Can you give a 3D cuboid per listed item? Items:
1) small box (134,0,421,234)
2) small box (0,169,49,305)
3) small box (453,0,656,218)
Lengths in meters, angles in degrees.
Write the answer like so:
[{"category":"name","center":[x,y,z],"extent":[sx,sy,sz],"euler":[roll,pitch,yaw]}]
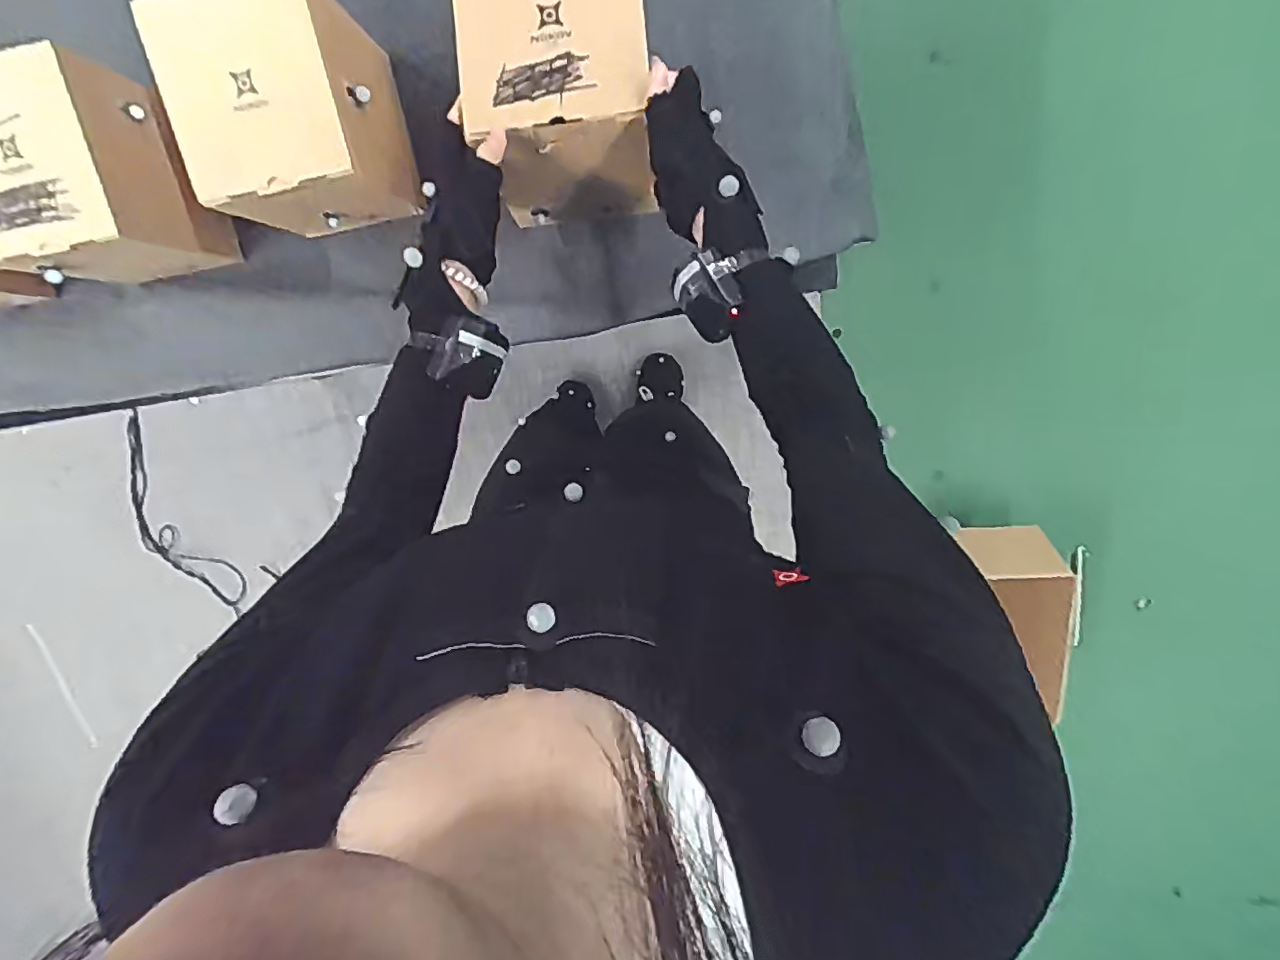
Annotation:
[{"category":"small box","center":[-0.366,-0.388,0.586],"extent":[0.168,0.176,0.179],"euler":[-10,104,4]},{"category":"small box","center":[-0.866,-0.299,0.621],"extent":[0.168,0.176,0.179],"euler":[-6,103,4]},{"category":"small box","center":[-0.073,-0.383,0.541],"extent":[0.168,0.176,0.179],"euler":[-4,89,3]}]
